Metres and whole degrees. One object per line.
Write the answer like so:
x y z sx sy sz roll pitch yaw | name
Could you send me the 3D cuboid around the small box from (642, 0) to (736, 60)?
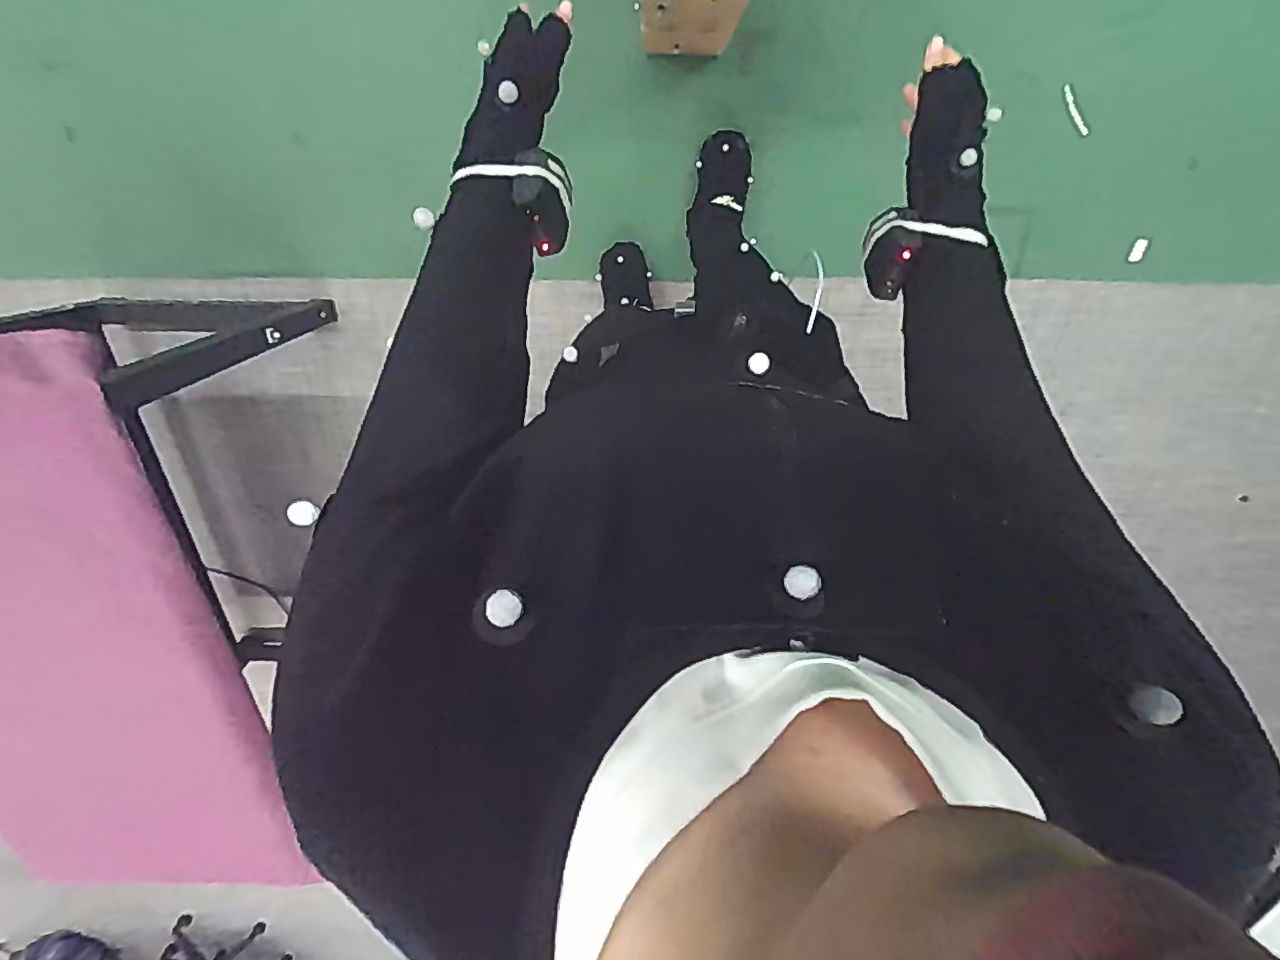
0.089 -0.912 1.006 0.168 0.176 0.179 1 118 0 | small box
